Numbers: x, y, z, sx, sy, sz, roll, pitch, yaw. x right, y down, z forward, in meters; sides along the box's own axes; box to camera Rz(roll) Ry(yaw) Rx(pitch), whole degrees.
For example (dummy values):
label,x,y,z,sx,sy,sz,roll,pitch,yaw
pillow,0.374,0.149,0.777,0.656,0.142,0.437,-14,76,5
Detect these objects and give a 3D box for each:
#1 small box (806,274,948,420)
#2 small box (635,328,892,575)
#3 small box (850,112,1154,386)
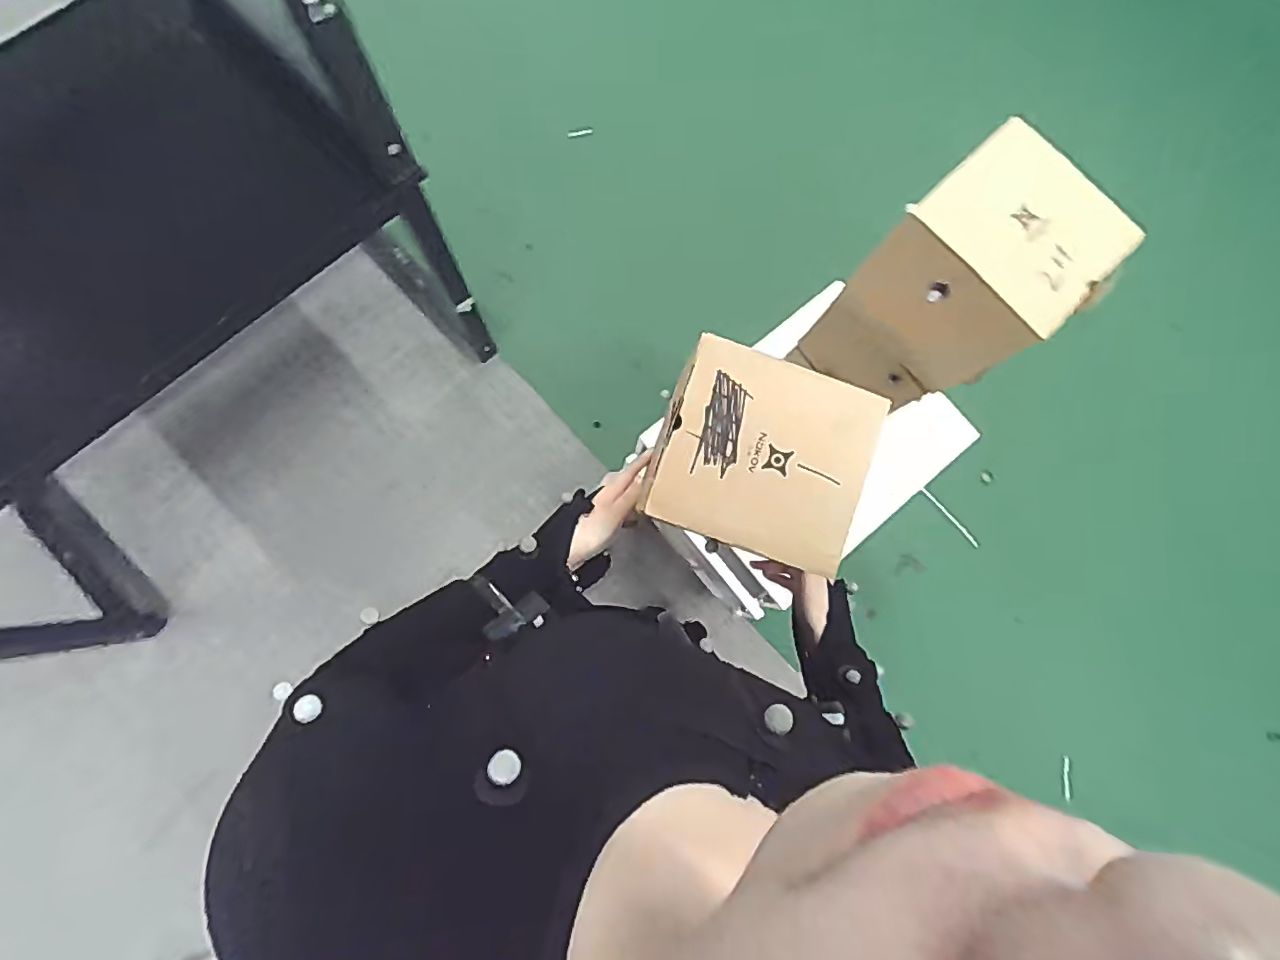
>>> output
label,x,y,z,sx,sy,sz,roll,pitch,yaw
small box,0.364,-0.205,0.748,0.168,0.176,0.179,-36,85,-10
small box,0.100,-0.019,0.524,0.179,0.176,0.168,19,87,-3
small box,0.367,-0.232,0.587,0.168,0.176,0.179,-43,87,-8
